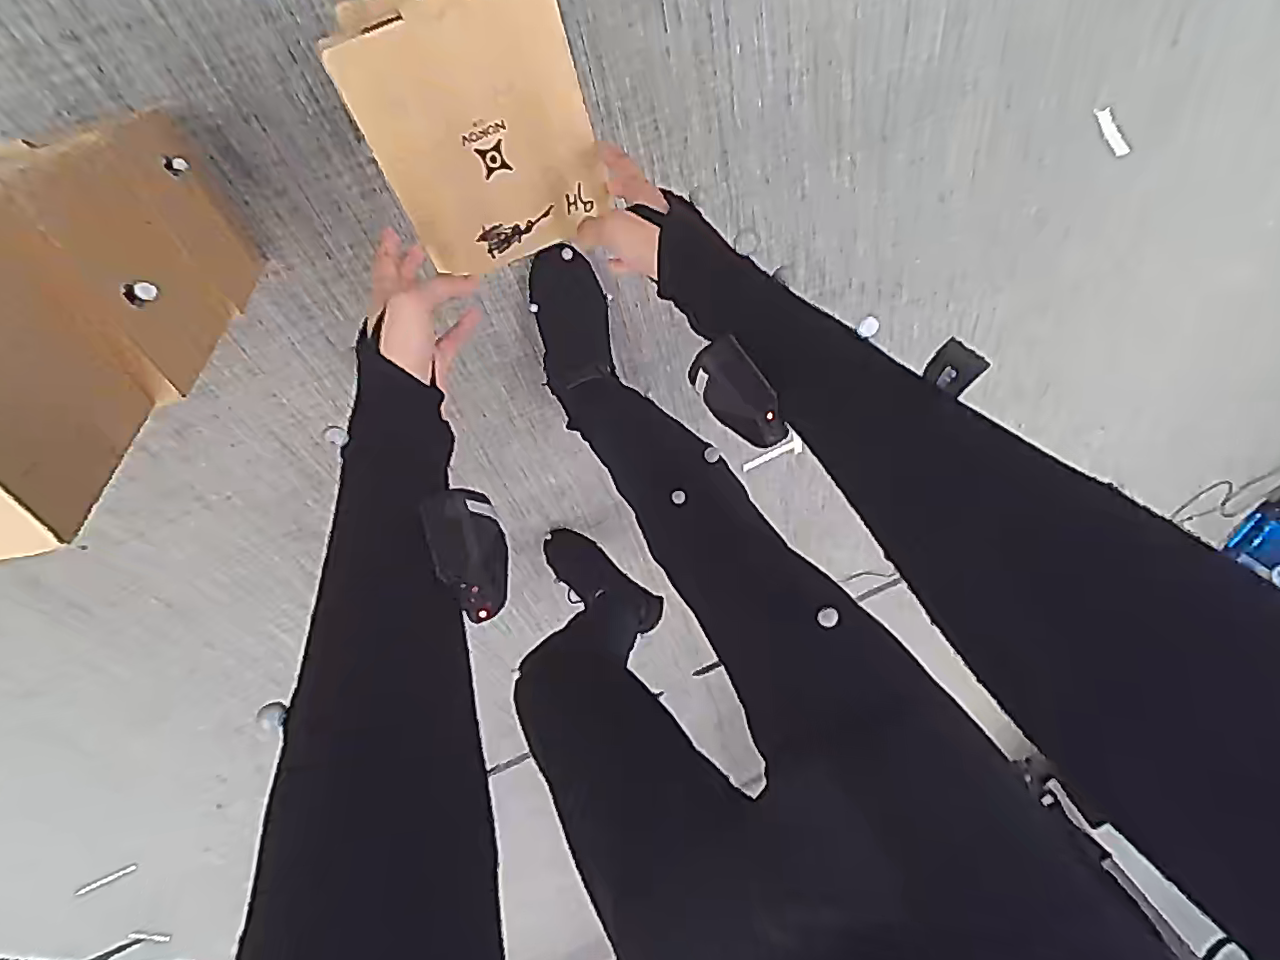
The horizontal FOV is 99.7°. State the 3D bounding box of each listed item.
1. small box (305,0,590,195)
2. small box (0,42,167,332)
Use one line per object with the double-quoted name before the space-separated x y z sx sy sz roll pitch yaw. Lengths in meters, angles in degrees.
"small box" -0.162 -0.363 0.433 0.168 0.176 0.179 -24 135 -5
"small box" -0.513 -0.210 0.399 0.168 0.176 0.179 -19 135 -9
